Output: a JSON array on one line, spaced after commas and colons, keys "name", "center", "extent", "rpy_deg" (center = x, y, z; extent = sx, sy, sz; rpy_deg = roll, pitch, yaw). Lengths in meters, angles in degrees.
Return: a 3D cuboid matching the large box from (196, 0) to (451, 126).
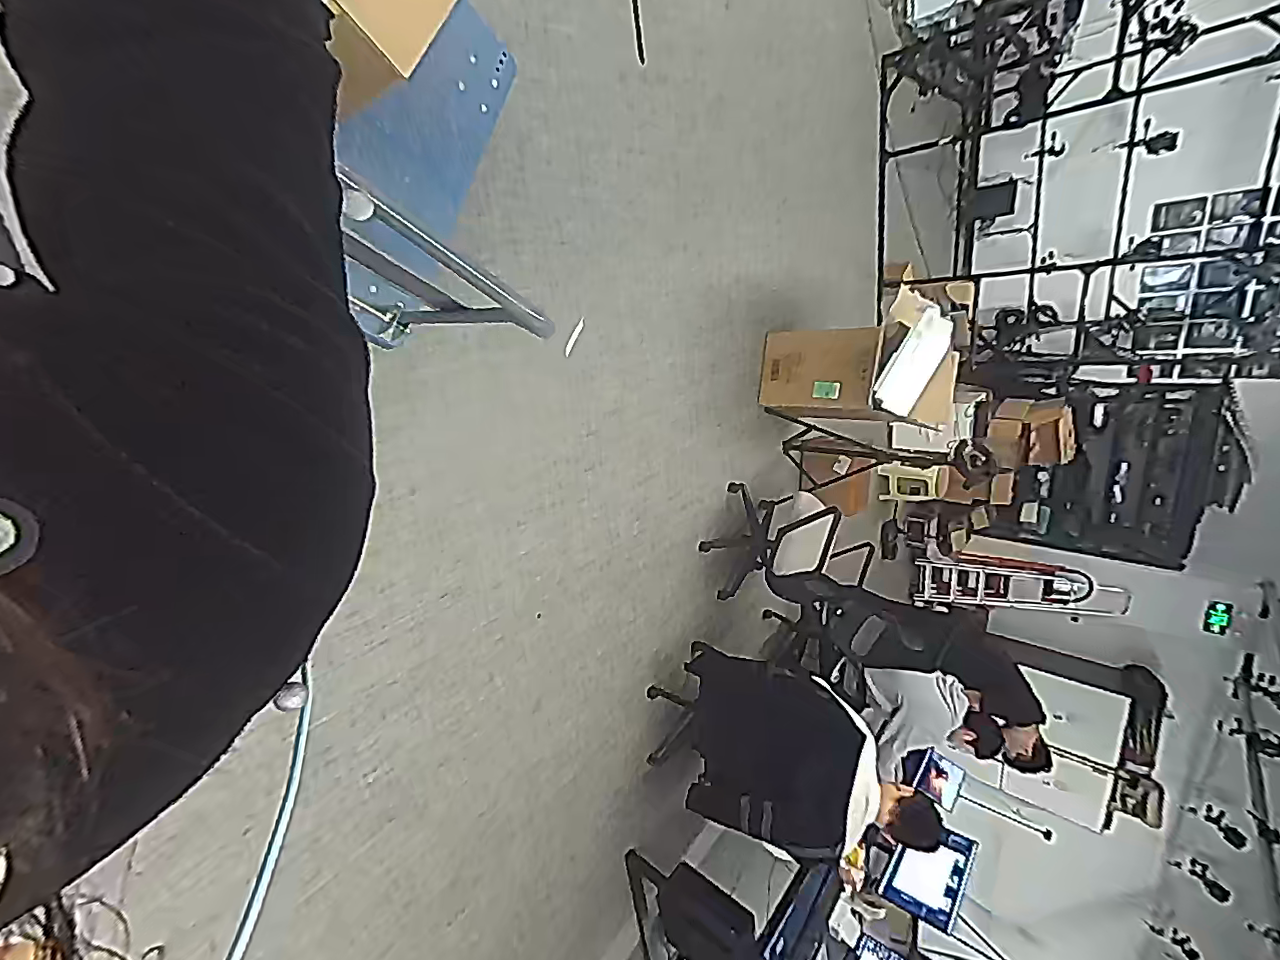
[{"name": "large box", "center": [-0.555, -0.981, 1.008], "extent": [0.320, 0.320, 0.408], "rpy_deg": [35, 71, -47]}]
